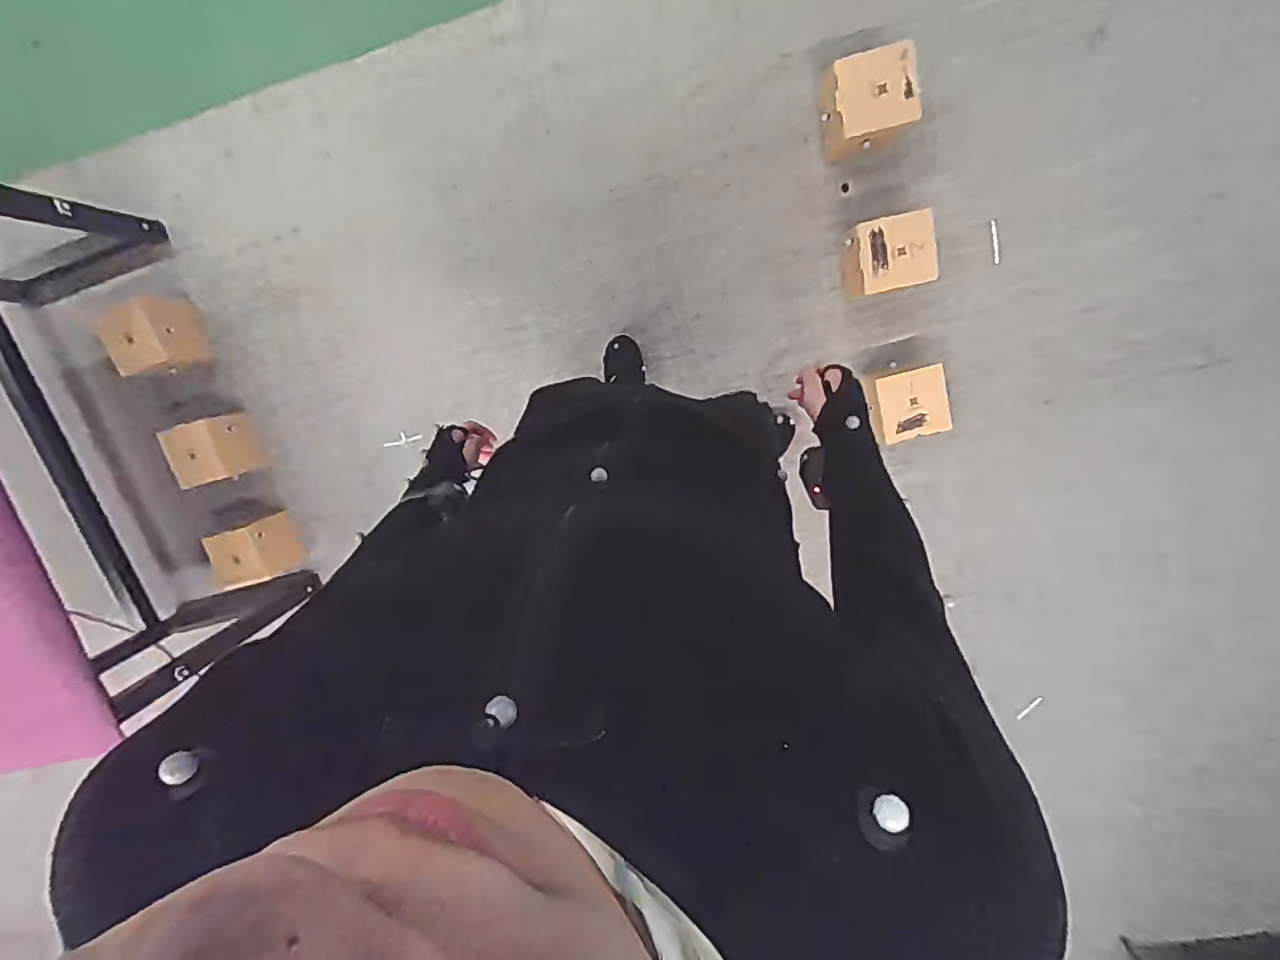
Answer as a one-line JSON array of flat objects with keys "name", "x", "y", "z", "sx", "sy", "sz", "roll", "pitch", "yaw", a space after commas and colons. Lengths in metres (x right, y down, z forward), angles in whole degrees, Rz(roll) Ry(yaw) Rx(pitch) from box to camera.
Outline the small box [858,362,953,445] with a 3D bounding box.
[{"name": "small box", "x": 0.695, "y": -0.208, "z": 1.428, "sx": 0.168, "sy": 0.176, "sz": 0.179, "roll": -14, "pitch": 102, "yaw": 8}]

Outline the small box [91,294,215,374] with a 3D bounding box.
[{"name": "small box", "x": -1.382, "y": -0.416, "z": 1.549, "sx": 0.168, "sy": 0.176, "sz": 0.179, "roll": -17, "pitch": 102, "yaw": 8}]

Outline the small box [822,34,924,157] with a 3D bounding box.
[{"name": "small box", "x": 0.538, "y": -0.892, "z": 1.274, "sx": 0.179, "sy": 0.176, "sz": 0.168, "roll": -12, "pitch": 103, "yaw": 7}]

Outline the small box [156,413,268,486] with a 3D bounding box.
[{"name": "small box", "x": -1.272, "y": -0.099, "z": 1.620, "sx": 0.168, "sy": 0.176, "sz": 0.179, "roll": -13, "pitch": 103, "yaw": 9}]

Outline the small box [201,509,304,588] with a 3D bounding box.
[{"name": "small box", "x": -1.200, "y": 0.210, "z": 1.691, "sx": 0.168, "sy": 0.176, "sz": 0.179, "roll": -14, "pitch": 102, "yaw": 8}]
